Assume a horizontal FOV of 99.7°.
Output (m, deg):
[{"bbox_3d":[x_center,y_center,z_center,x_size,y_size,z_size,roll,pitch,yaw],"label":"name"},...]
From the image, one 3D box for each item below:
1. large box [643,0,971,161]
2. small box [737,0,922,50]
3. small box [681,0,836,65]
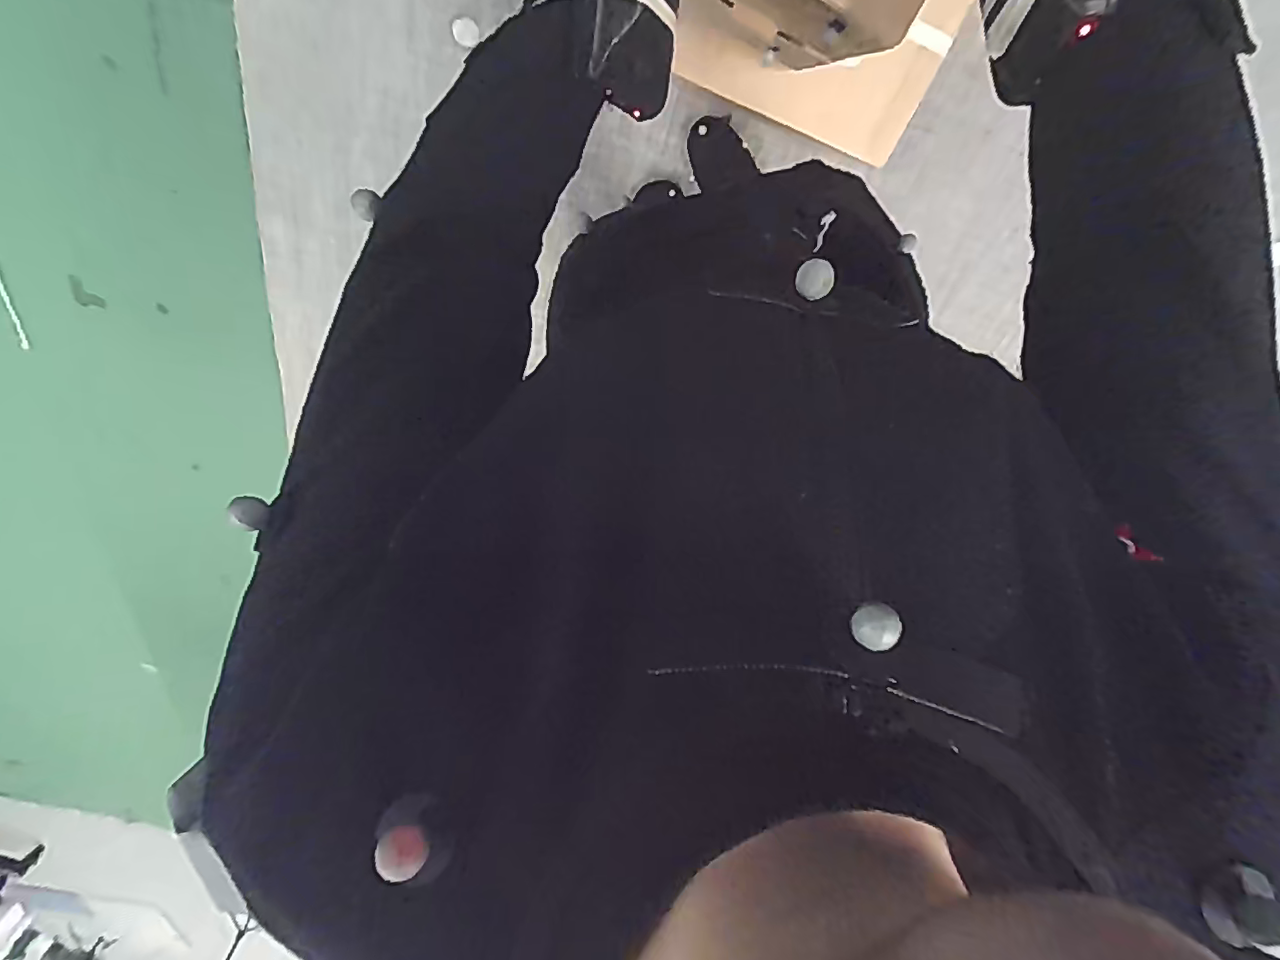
[{"bbox_3d":[0.241,-0.744,0.833,0.408,0.320,0.320,17,125,-10],"label":"large box"},{"bbox_3d":[0.128,-0.427,0.366,0.179,0.176,0.168,20,123,-13],"label":"small box"},{"bbox_3d":[0.135,-0.519,0.500,0.168,0.176,0.179,19,123,-12],"label":"small box"}]
